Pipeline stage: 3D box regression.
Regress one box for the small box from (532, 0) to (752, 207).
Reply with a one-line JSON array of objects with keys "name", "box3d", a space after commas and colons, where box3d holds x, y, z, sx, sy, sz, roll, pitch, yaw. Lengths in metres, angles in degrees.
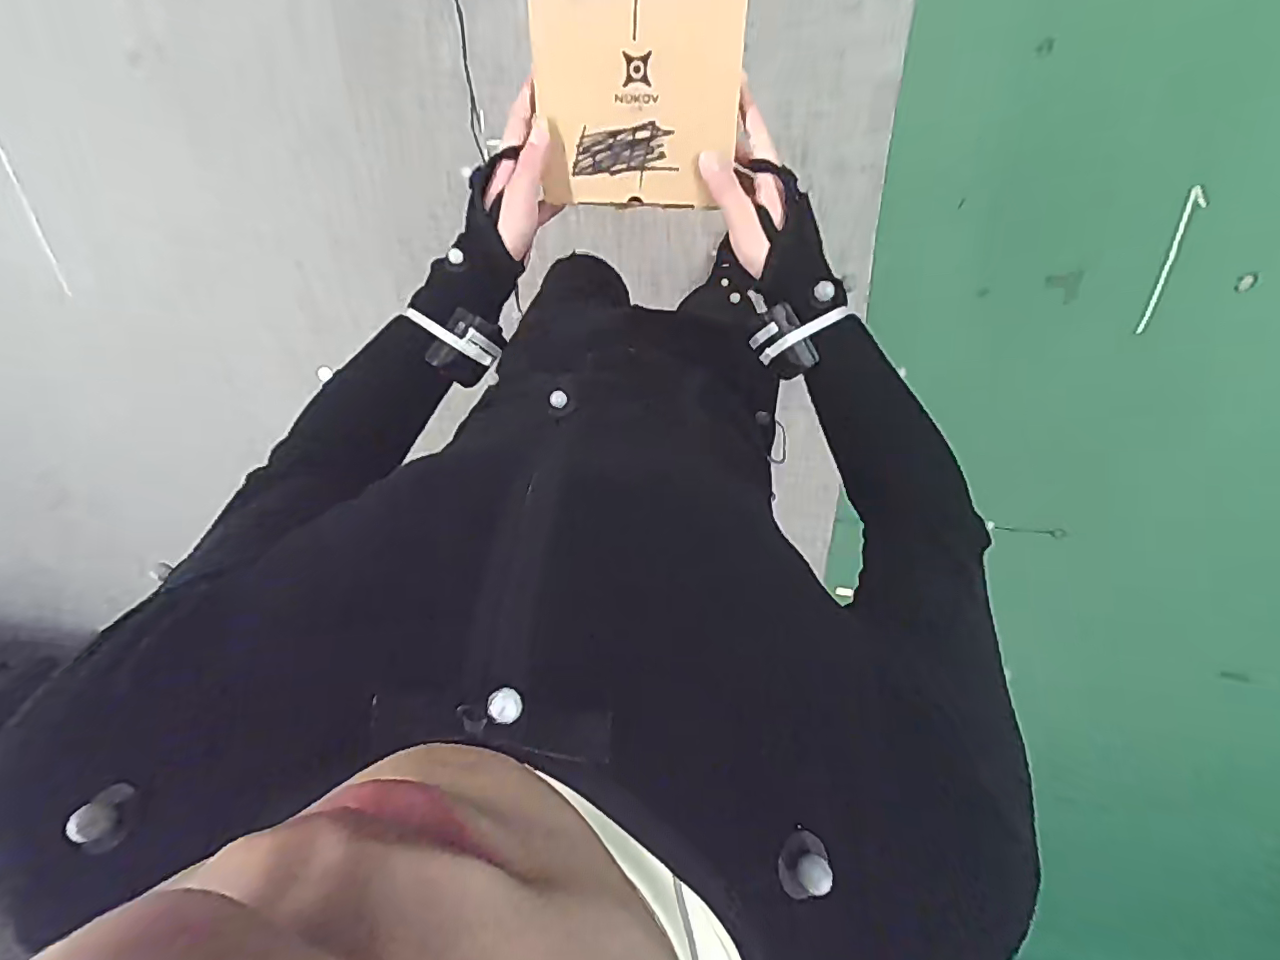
[{"name": "small box", "box3d": [0.010, -0.354, 0.488, 0.168, 0.176, 0.179, 4, 122, 6]}]
